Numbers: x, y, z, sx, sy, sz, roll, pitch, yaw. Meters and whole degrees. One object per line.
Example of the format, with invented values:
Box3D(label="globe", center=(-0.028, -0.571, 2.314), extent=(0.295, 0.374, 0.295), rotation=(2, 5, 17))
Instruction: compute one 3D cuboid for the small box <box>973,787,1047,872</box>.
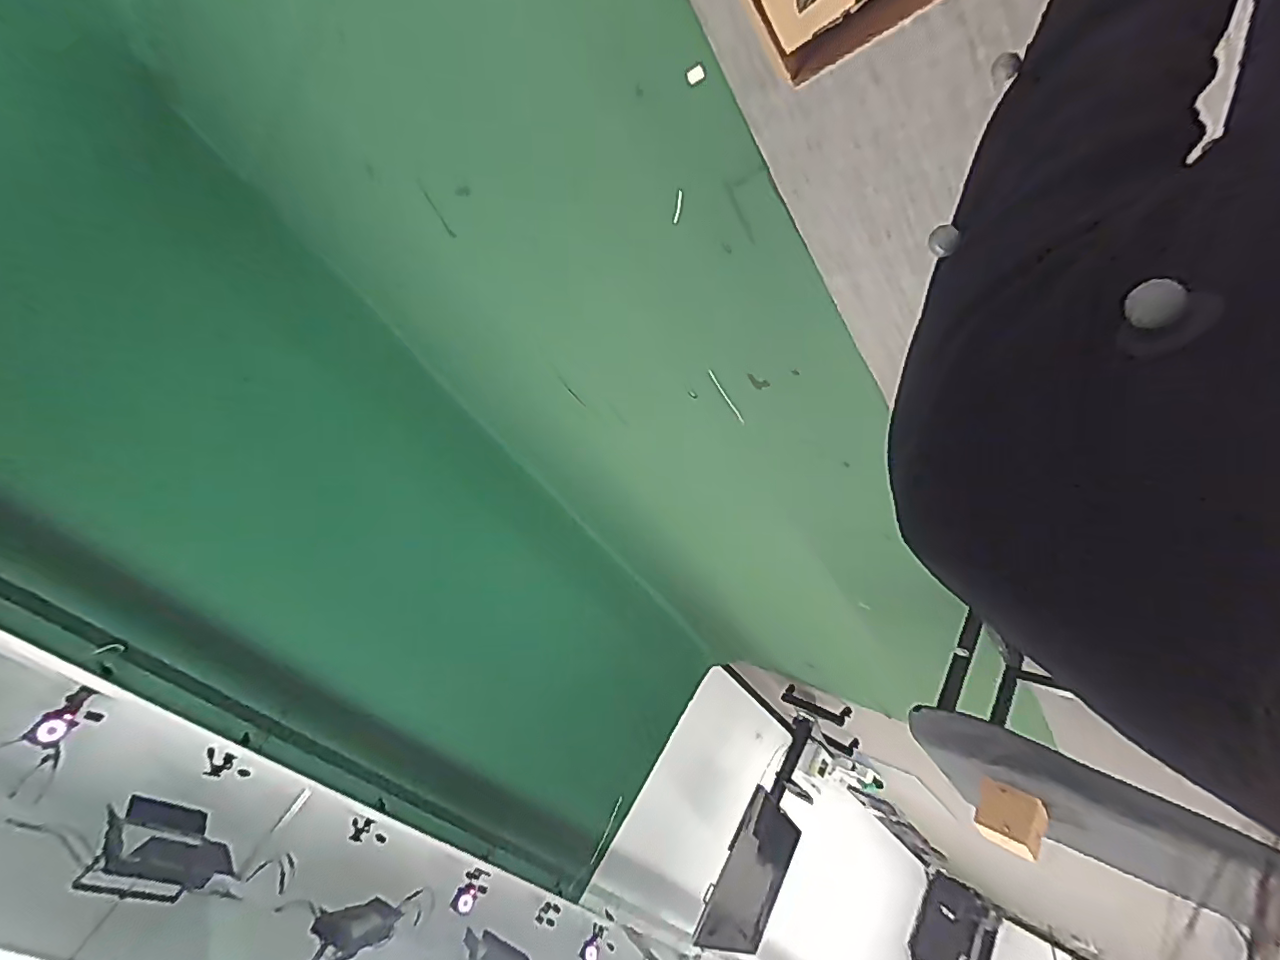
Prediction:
Box3D(label="small box", center=(1.302, 1.219, 1.895), extent=(0.168, 0.176, 0.179), rotation=(3, 140, 50))
